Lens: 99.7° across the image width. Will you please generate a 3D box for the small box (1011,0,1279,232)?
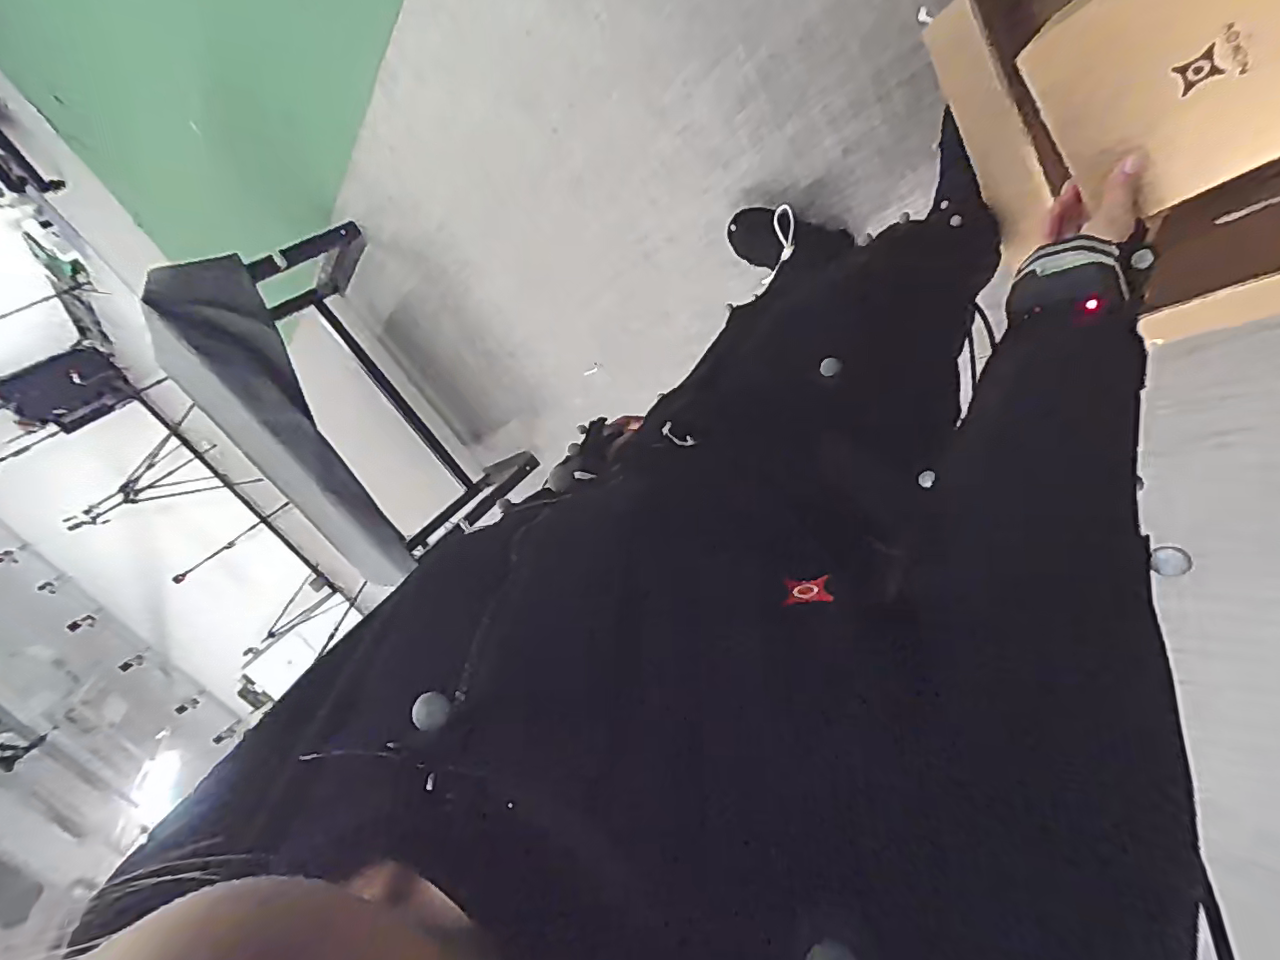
[{"bbox_3d":[0.432,-0.336,0.418,0.168,0.176,0.179,51,145,-13],"label":"small box"}]
